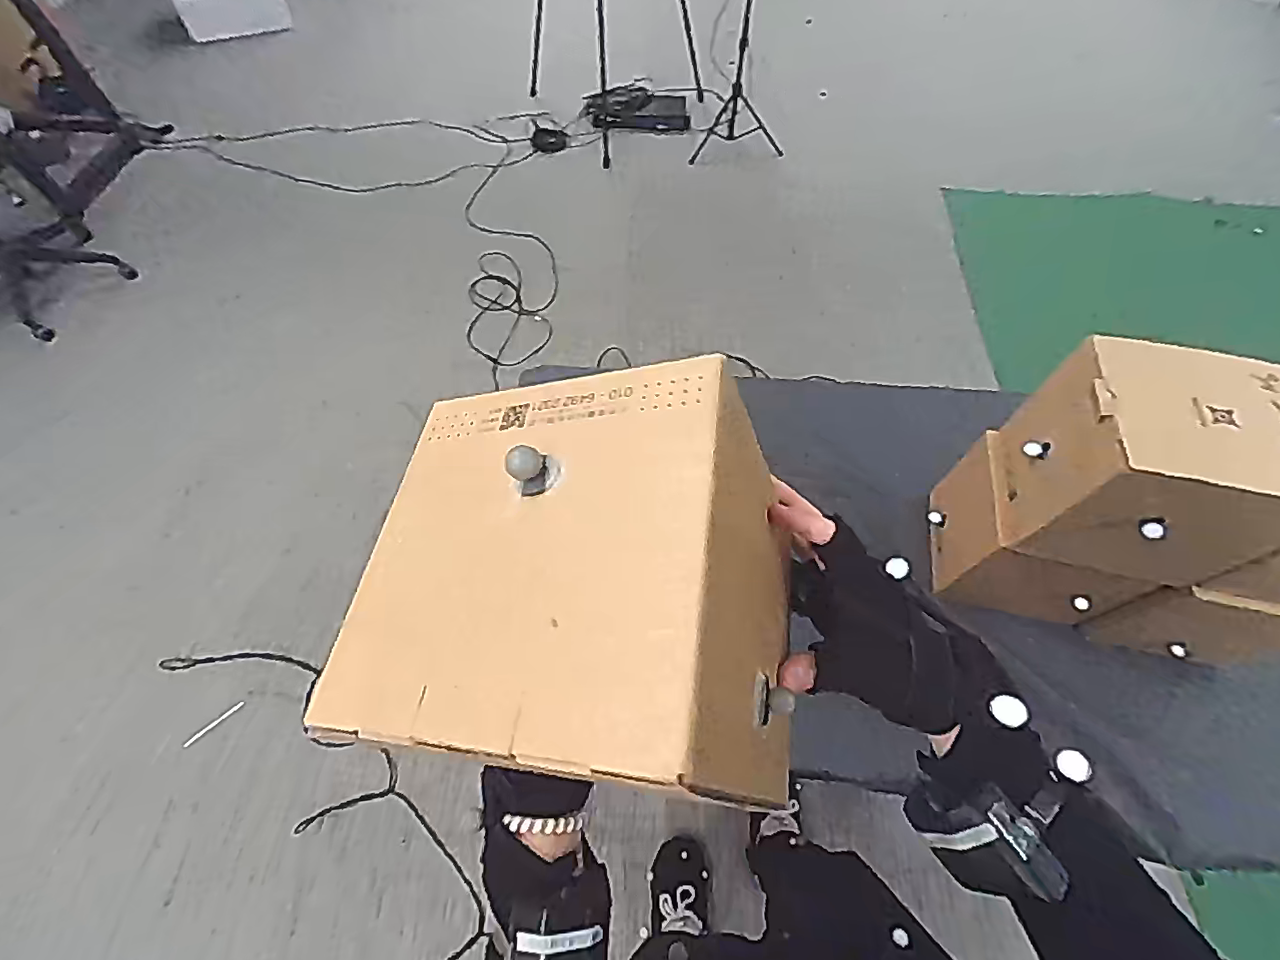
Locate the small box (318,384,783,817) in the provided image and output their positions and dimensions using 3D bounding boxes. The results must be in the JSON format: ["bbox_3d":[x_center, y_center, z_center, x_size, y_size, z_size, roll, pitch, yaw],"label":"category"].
[{"bbox_3d":[-0.018,0.072,0.299,0.168,0.179,0.176,-5,57,24],"label":"small box"}]
